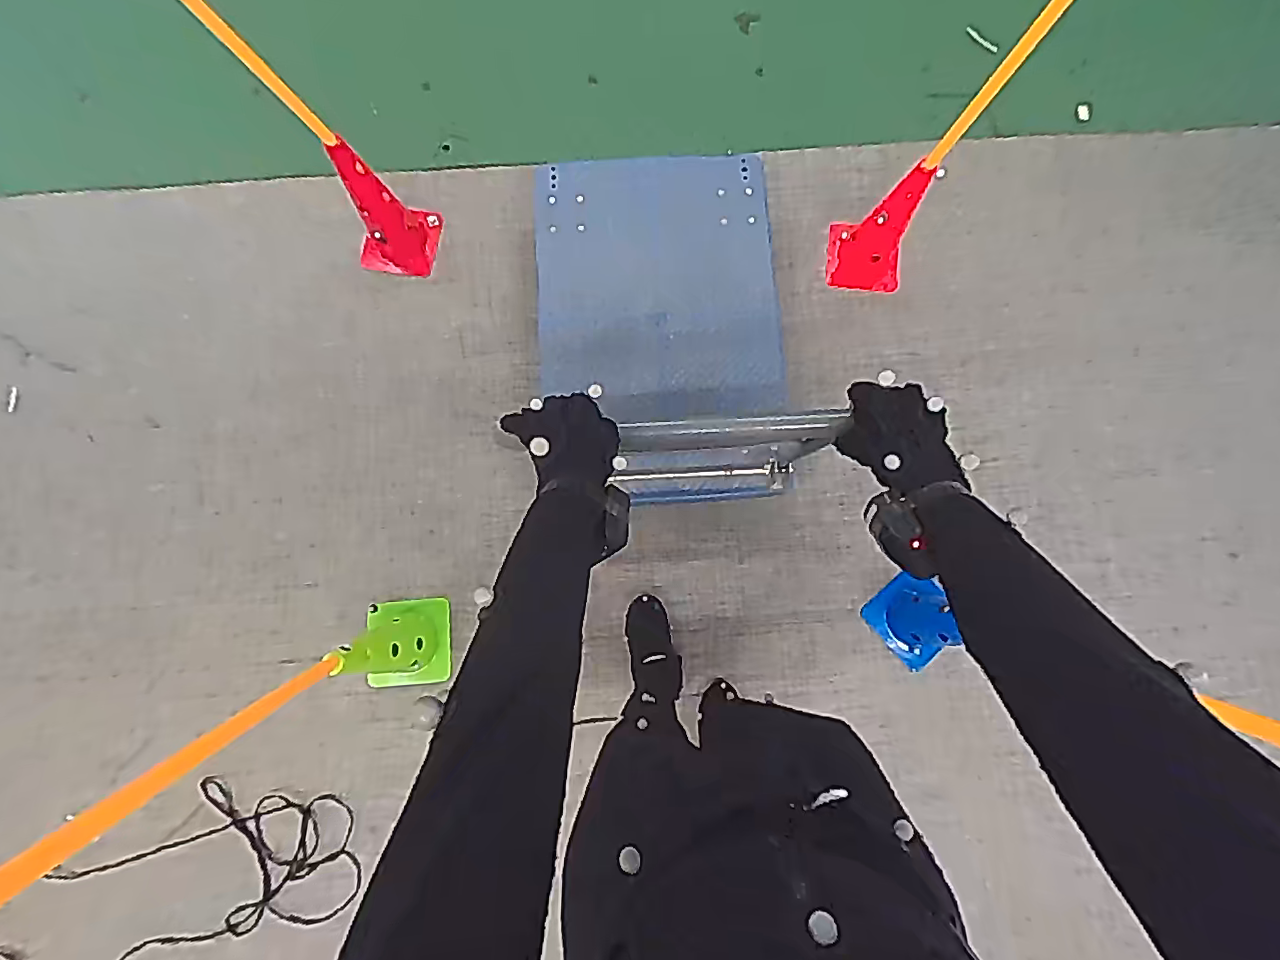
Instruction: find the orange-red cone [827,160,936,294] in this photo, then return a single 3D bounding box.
[{"bbox_3d":[0.630,-0.650,1.350,0.198,0.360,0.199,7,80,1],"label":"orange-red cone"}]
